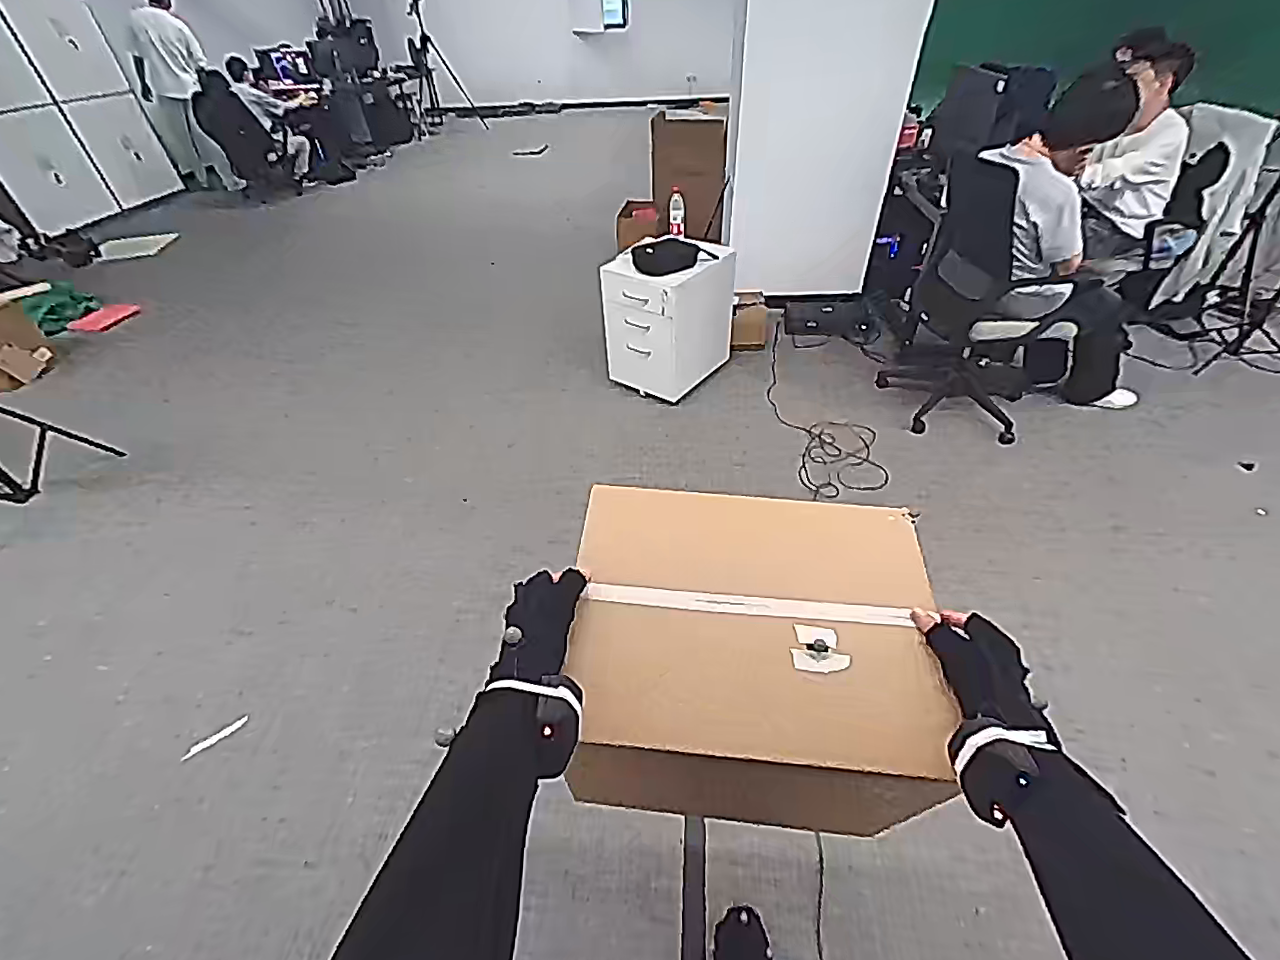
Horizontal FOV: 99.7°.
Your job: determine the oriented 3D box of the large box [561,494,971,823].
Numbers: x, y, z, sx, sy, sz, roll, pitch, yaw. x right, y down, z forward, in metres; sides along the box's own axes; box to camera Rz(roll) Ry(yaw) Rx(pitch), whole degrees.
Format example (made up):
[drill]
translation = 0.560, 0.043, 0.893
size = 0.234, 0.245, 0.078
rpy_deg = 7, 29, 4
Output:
[large box]
translation = 0.127, 0.242, 0.728
size = 0.408, 0.320, 0.320
rpy_deg = 4, 50, 3
